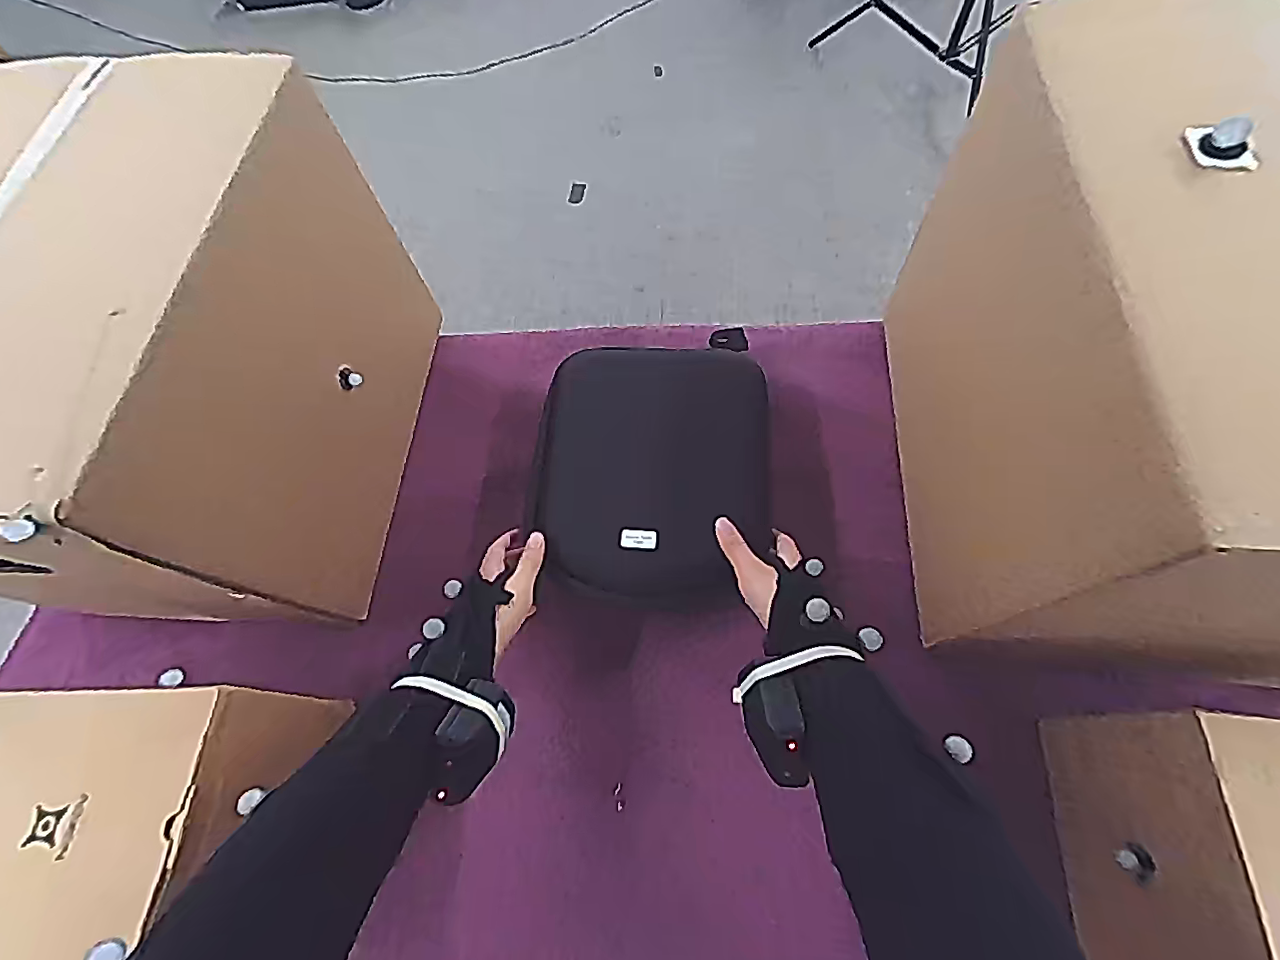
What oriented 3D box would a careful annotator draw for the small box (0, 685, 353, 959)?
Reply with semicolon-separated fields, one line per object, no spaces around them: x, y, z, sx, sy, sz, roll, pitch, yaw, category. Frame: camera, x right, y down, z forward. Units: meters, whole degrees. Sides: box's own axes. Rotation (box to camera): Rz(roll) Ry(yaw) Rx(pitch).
-0.365;0.257;0.418;0.179;0.176;0.168;-3;63;3;small box

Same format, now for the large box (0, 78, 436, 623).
-0.428;-0.093;0.514;0.320;0.320;0.408;0;67;5;large box
